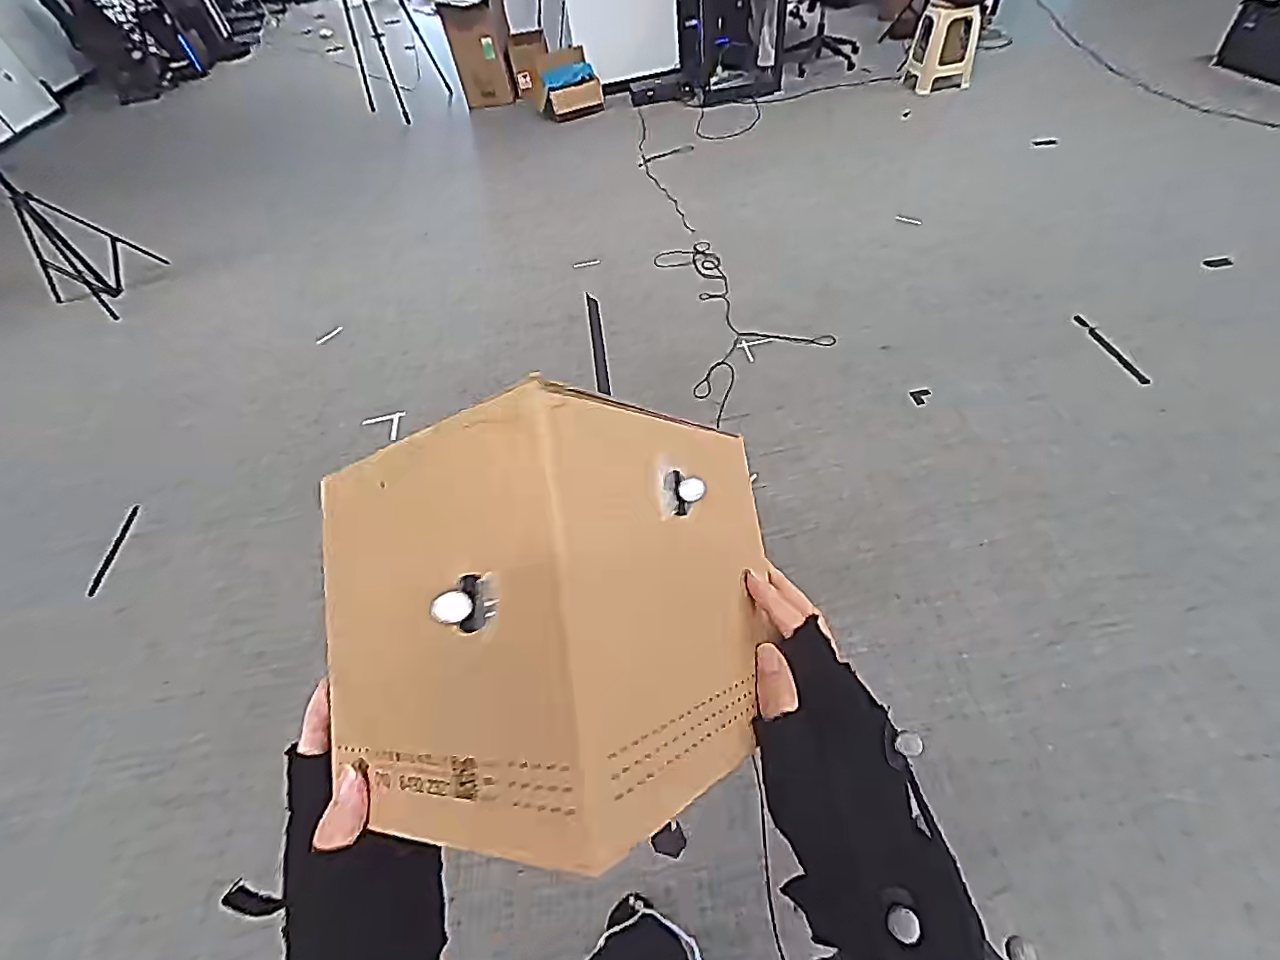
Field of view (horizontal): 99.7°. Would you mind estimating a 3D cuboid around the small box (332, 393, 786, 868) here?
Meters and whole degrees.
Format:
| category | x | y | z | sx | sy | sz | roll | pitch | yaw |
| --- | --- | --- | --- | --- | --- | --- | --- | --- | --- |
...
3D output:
| category | x | y | z | sx | sy | sz | roll | pitch | yaw |
| --- | --- | --- | --- | --- | --- | --- | --- | --- | --- |
| small box | -0.035 | 0.072 | 0.294 | 0.168 | 0.179 | 0.176 | -15 | 77 | 32 |
